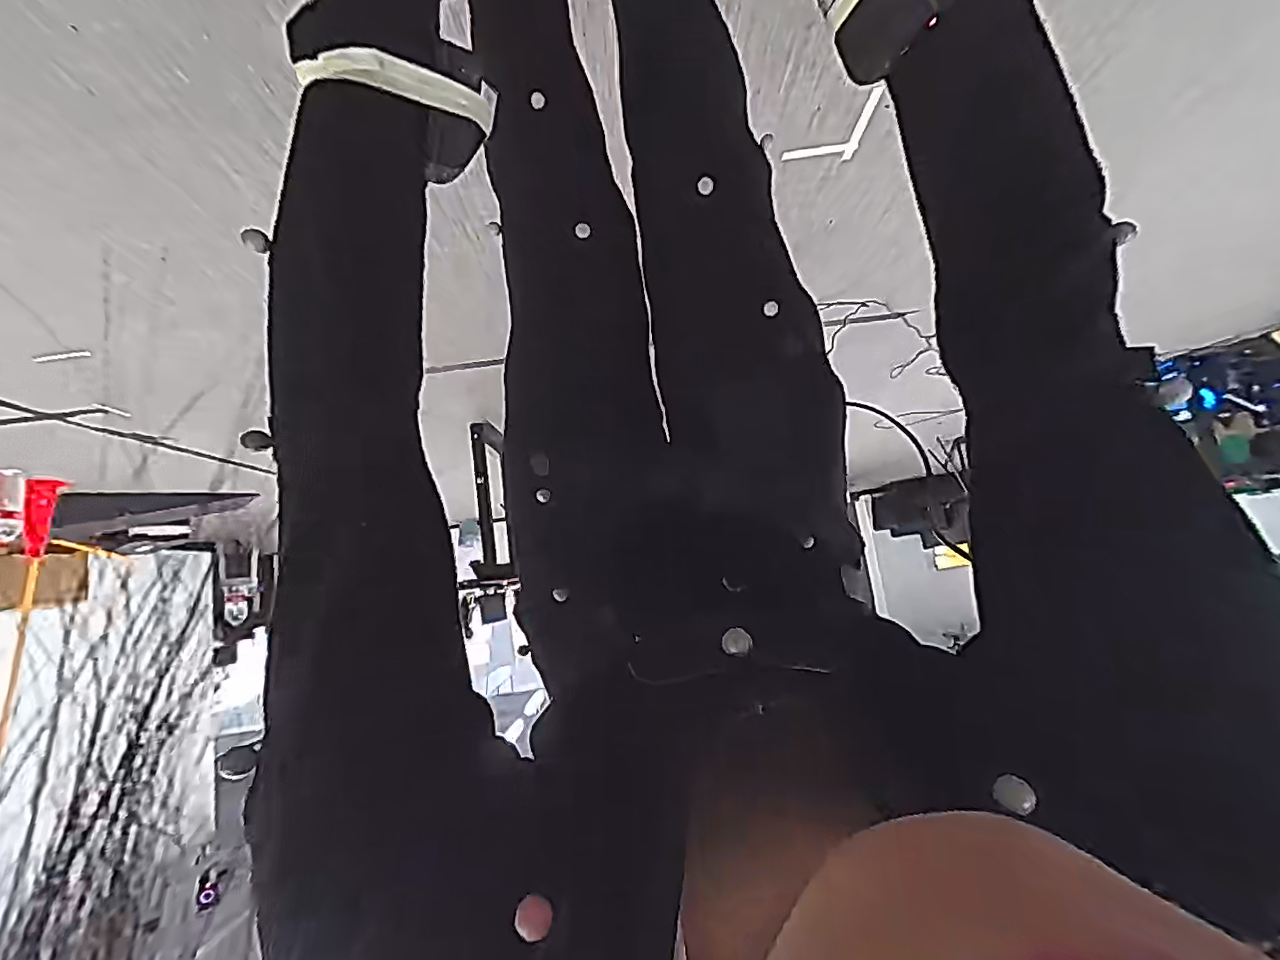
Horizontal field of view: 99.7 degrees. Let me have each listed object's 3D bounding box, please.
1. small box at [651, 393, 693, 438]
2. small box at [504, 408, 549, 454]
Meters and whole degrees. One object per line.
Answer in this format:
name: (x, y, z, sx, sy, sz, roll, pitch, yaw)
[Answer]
small box: (0.150, -0.313, 2.586, 0.168, 0.176, 0.179, -8, 172, -4)
small box: (-0.532, -0.228, 2.510, 0.179, 0.176, 0.168, -6, 170, -20)
